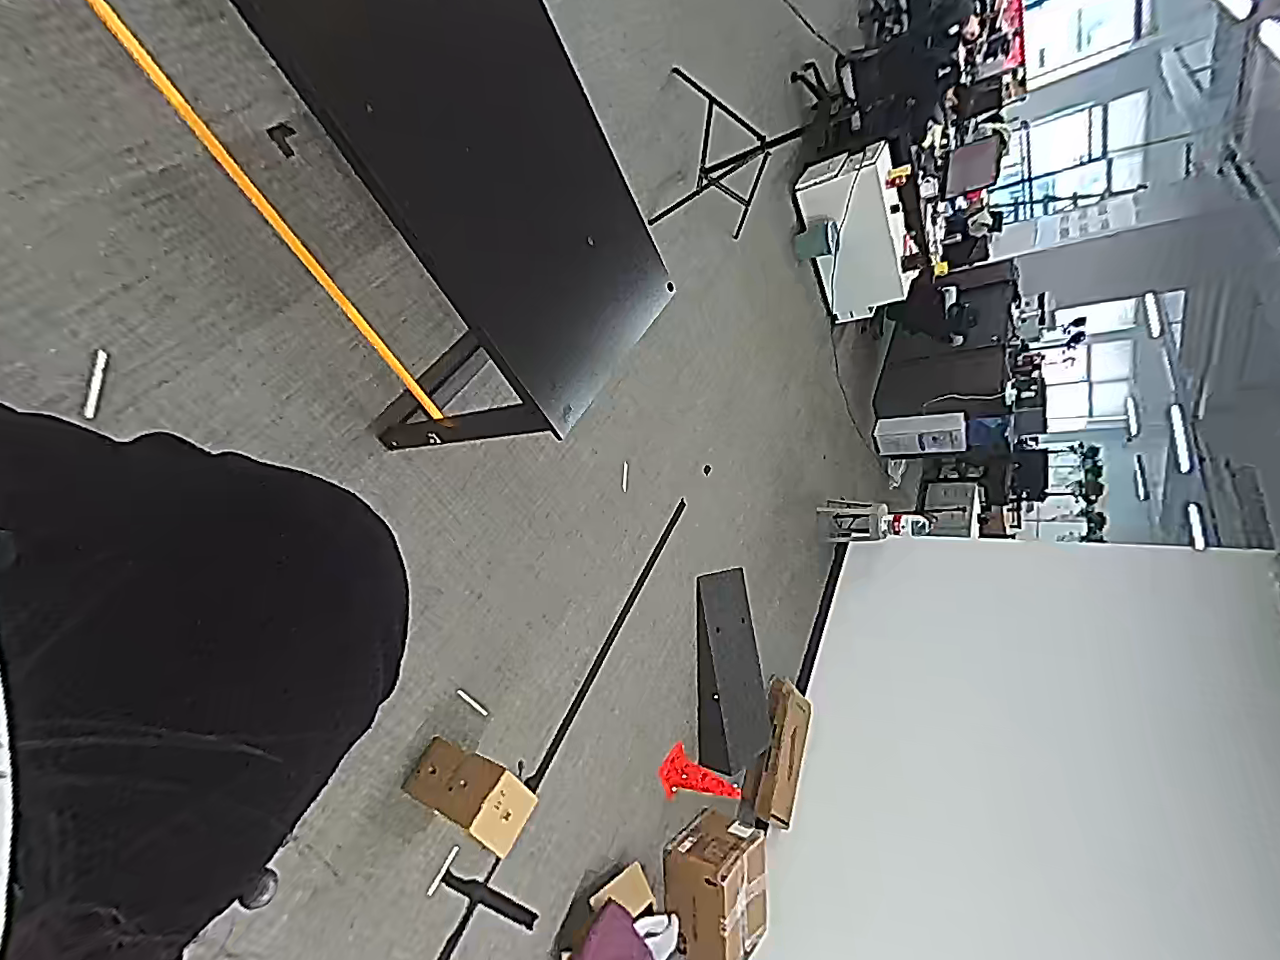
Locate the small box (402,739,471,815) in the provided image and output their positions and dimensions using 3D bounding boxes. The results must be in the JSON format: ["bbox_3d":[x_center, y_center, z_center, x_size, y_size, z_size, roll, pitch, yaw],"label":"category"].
[{"bbox_3d":[-0.568,0.898,1.613,0.179,0.176,0.168,57,48,-33],"label":"small box"}]

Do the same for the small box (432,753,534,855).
[{"bbox_3d":[-0.437,0.898,1.512,0.168,0.176,0.179,-54,129,-38],"label":"small box"}]
